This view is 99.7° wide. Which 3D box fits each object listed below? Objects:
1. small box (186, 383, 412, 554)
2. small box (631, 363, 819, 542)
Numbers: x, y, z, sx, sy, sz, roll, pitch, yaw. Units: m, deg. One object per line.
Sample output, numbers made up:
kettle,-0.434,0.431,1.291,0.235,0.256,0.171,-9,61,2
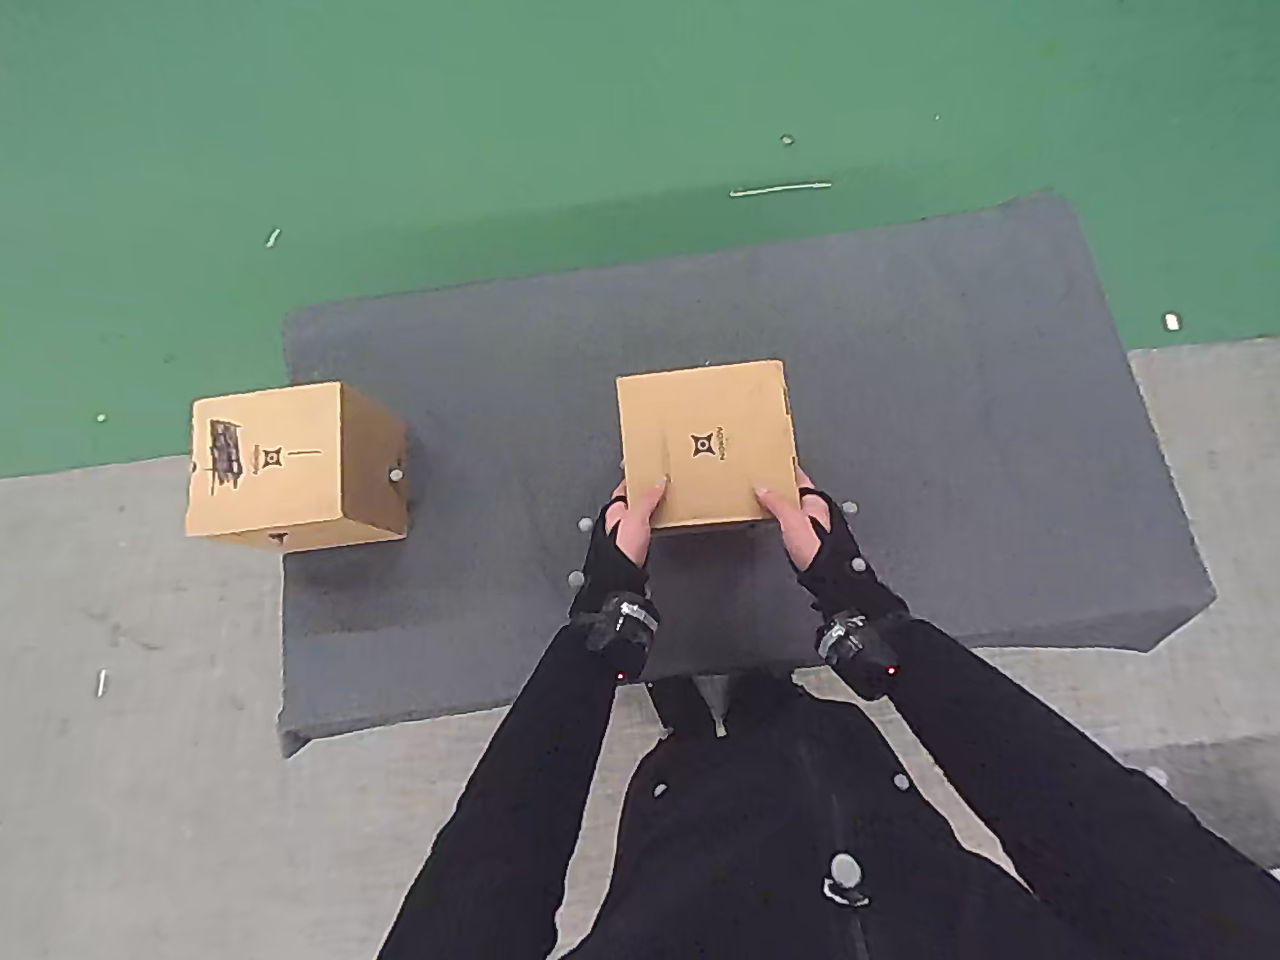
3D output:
small box,-0.406,-0.004,0.673,0.179,0.176,0.168,-7,77,-1
small box,0.090,-0.020,0.623,0.179,0.176,0.168,-6,80,5
